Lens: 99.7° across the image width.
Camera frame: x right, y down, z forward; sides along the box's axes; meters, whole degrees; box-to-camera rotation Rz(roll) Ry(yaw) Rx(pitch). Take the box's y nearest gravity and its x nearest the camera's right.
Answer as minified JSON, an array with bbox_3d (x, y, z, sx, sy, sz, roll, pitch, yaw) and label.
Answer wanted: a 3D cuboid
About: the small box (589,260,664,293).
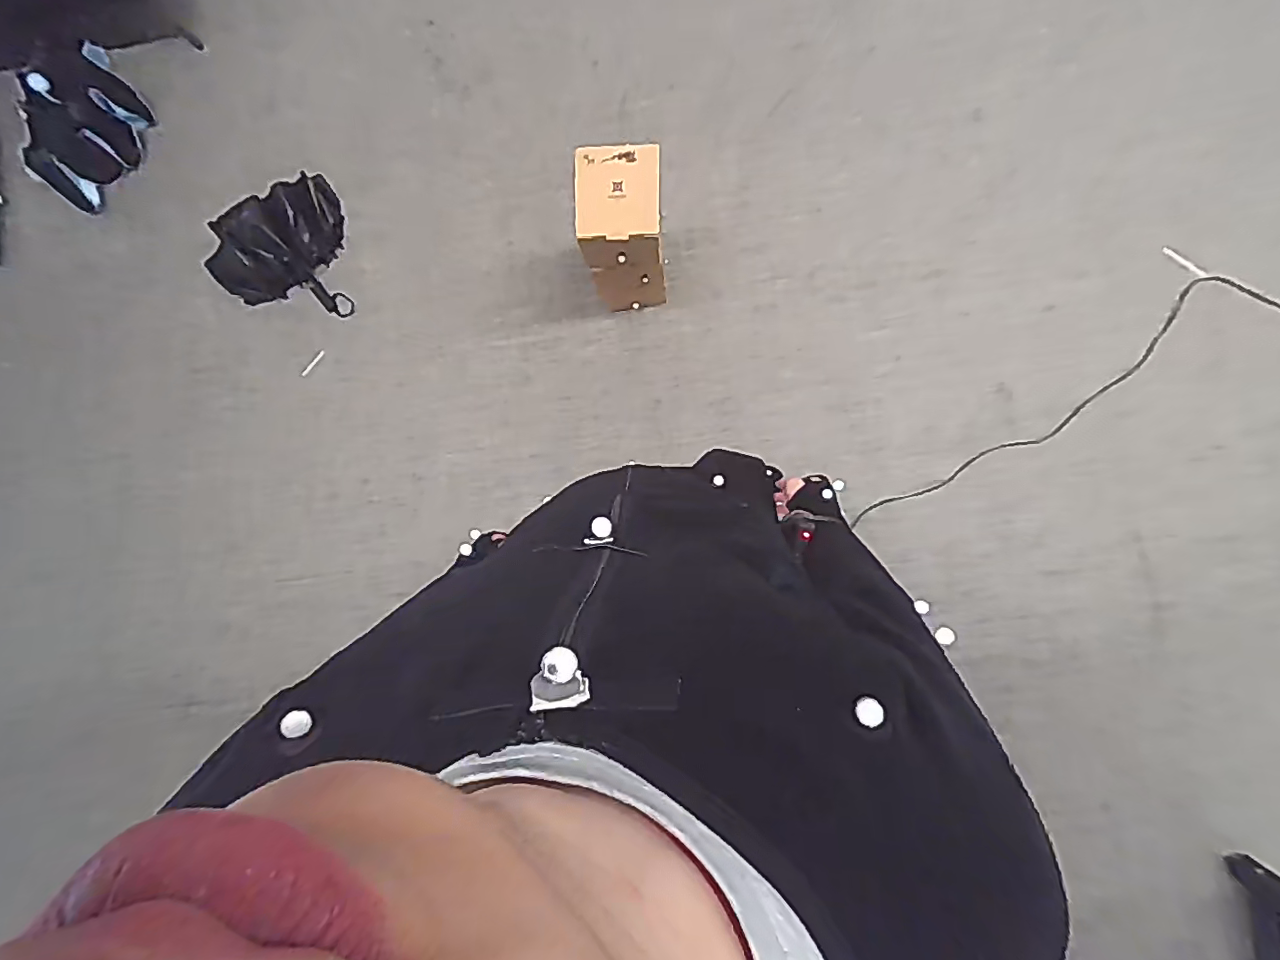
[{"bbox_3d":[-0.035,-0.556,1.278,0.168,0.176,0.179,-7,91,4],"label":"small box"}]

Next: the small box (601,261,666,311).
[{"bbox_3d":[-0.022,-0.568,1.439,0.168,0.176,0.179,-8,93,5],"label":"small box"}]

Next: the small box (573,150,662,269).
[{"bbox_3d":[-0.040,-0.545,1.115,0.168,0.176,0.179,0,93,5],"label":"small box"}]
